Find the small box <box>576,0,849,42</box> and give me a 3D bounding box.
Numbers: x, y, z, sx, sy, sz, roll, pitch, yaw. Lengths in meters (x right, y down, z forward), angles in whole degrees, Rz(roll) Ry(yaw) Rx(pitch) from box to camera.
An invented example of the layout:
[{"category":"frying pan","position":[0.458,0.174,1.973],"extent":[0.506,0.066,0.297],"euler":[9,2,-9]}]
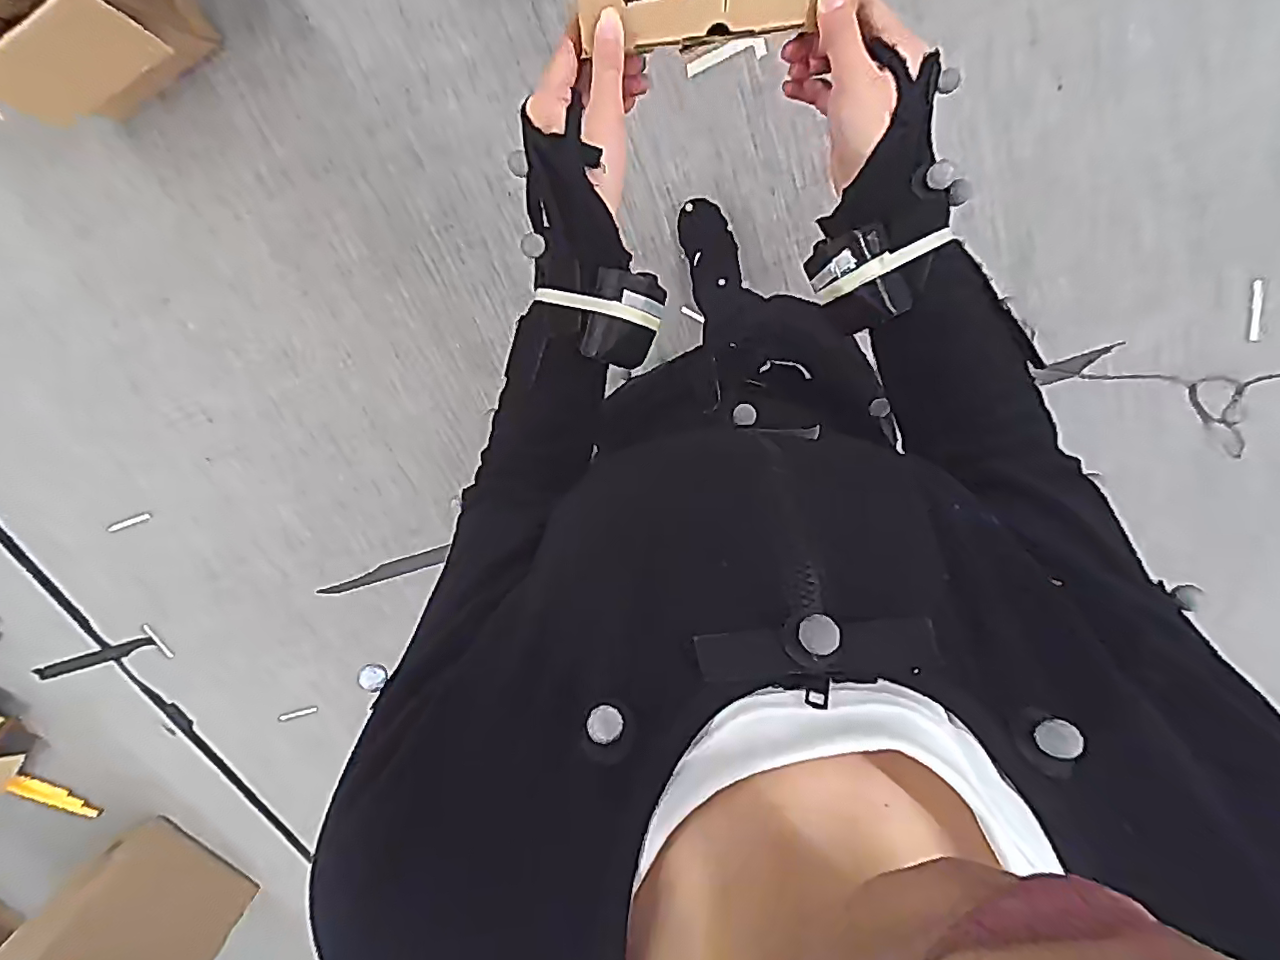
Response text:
[{"category":"small box","position":[0.039,-0.390,0.334],"extent":[0.168,0.176,0.179],"euler":[-4,127,3]}]
